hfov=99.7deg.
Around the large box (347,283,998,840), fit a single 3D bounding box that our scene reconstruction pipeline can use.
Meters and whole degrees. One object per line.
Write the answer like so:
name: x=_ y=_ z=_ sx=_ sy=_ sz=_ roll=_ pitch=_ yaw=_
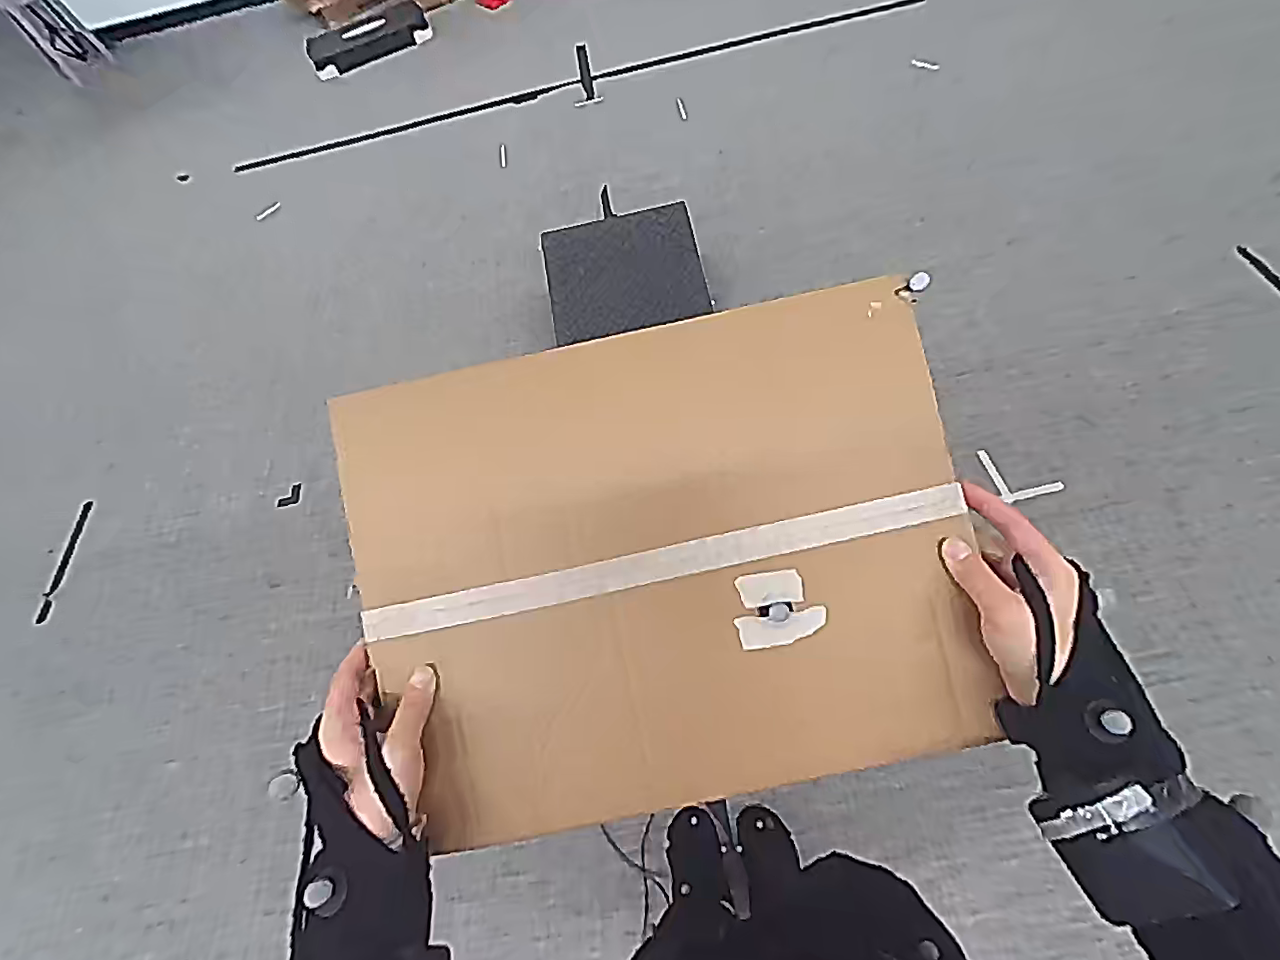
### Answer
large box: x=0.017 y=0.063 z=0.521 sx=0.408 sy=0.320 sz=0.320 roll=-12 pitch=87 yaw=1
